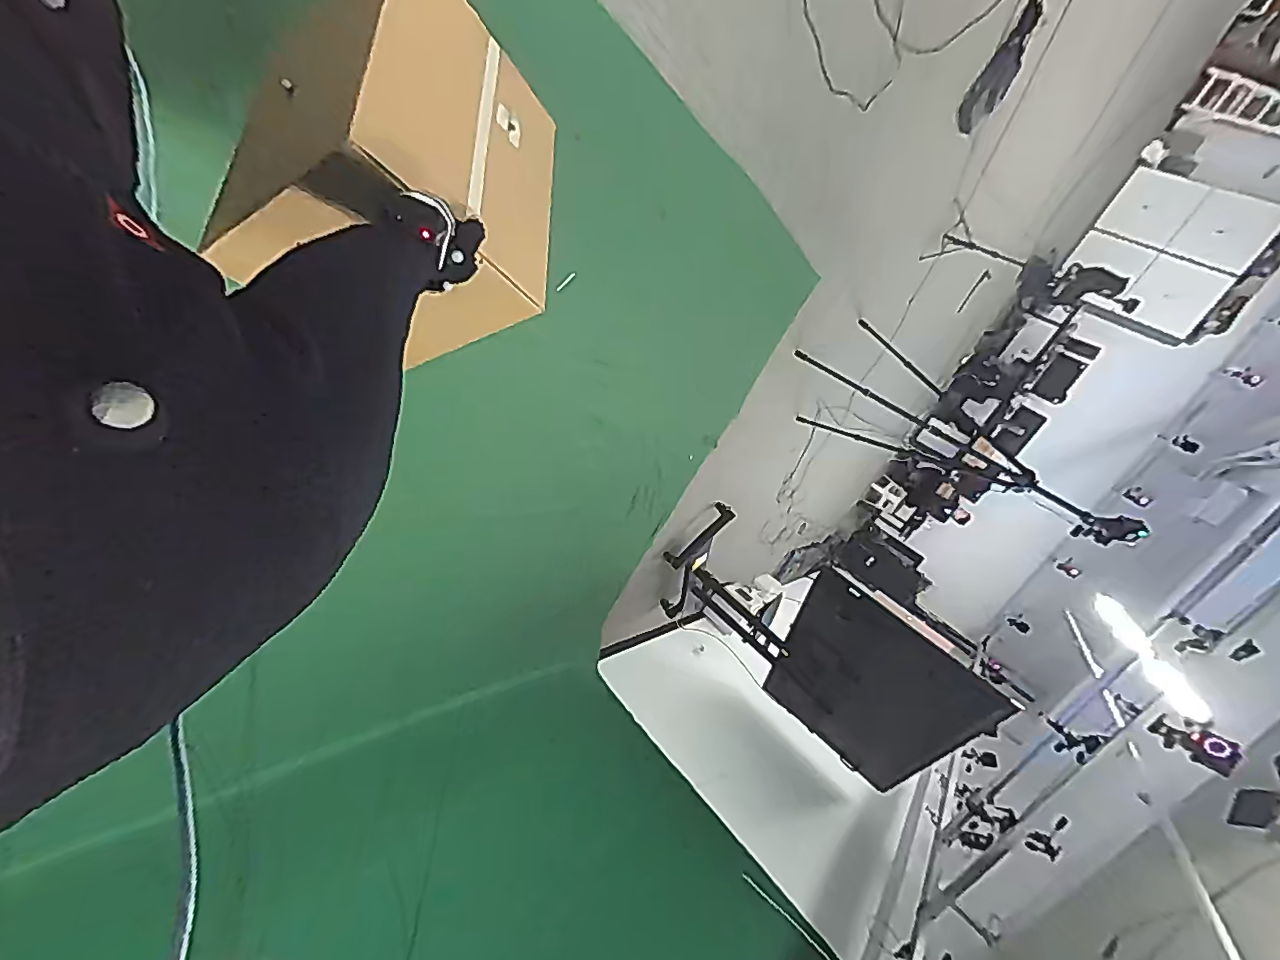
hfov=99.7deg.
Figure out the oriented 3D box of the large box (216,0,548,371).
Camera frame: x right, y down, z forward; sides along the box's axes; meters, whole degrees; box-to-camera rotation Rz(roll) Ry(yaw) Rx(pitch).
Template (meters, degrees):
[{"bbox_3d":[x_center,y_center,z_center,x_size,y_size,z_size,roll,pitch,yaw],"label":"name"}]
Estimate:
[{"bbox_3d":[-0.359,-0.442,0.821,0.320,0.408,0.320,-14,155,26],"label":"large box"}]
